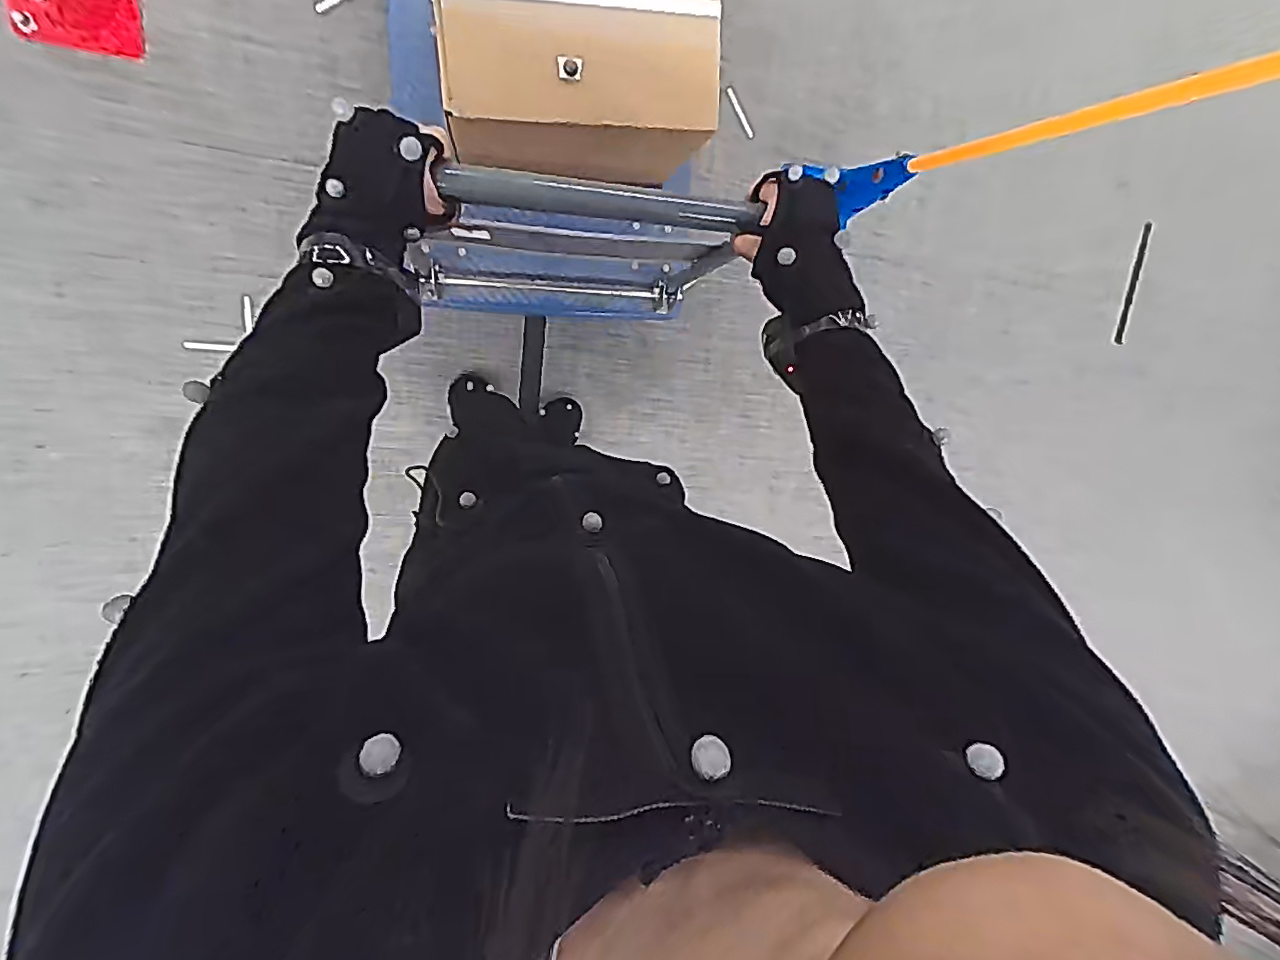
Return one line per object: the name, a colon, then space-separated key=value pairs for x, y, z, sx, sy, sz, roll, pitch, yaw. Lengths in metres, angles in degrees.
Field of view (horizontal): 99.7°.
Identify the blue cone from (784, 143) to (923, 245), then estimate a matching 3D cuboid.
blue cone: x=0.500 y=-0.678 z=1.246 sx=0.193 sy=0.380 sz=0.192 roll=-1 pitch=103 yaw=-14
